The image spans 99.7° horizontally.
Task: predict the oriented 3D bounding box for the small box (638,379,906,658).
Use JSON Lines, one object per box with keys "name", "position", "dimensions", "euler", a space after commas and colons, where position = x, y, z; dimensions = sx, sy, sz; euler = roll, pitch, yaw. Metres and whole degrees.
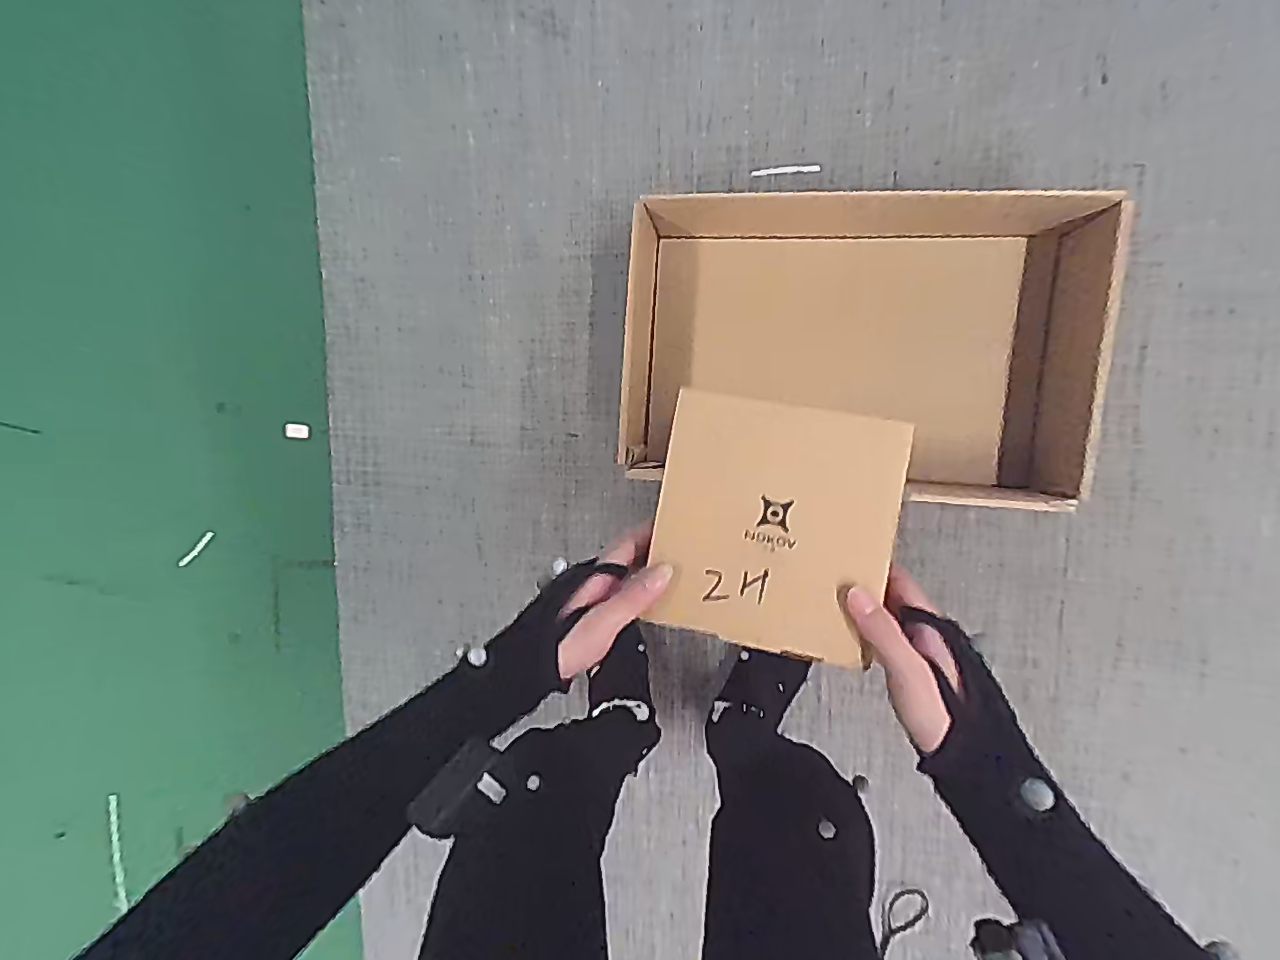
{"name": "small box", "position": [0.105, 0.027, 0.467], "dimensions": [0.168, 0.176, 0.179], "euler": [11, 90, 10]}
